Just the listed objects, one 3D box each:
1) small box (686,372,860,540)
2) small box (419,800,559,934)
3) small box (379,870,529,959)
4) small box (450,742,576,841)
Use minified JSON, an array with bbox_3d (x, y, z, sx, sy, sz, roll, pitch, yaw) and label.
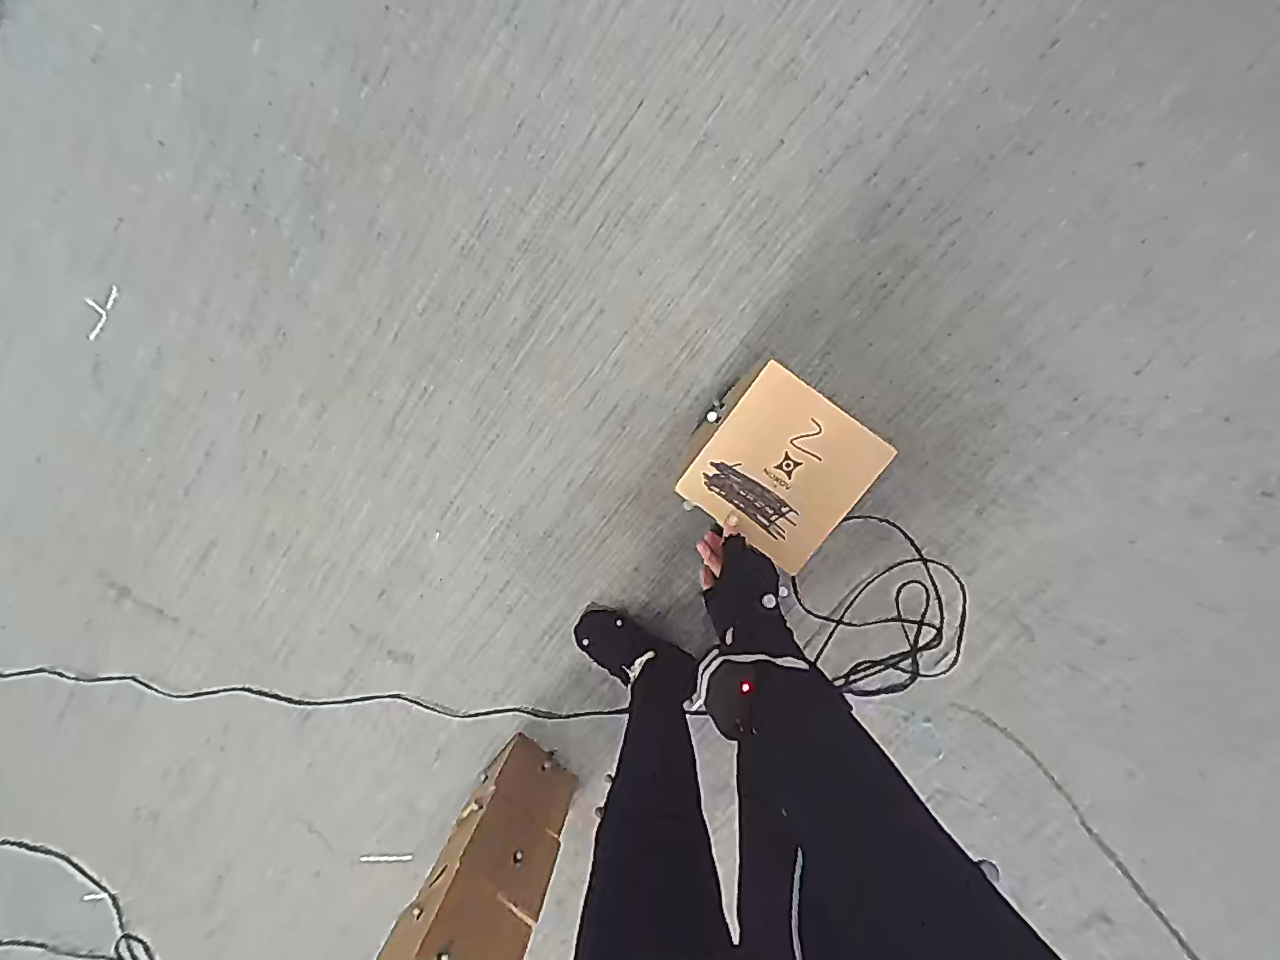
[{"bbox_3d":[0.186,-0.042,0.812,0.179,0.176,0.168,39,102,-2],"label":"small box"},{"bbox_3d":[-0.280,0.743,1.011,0.179,0.176,0.168,40,103,-3],"label":"small box"},{"bbox_3d":[-0.305,0.779,0.854,0.179,0.176,0.168,45,102,-2],"label":"small box"},{"bbox_3d":[-0.266,0.706,1.171,0.179,0.176,0.168,40,103,-1],"label":"small box"}]
